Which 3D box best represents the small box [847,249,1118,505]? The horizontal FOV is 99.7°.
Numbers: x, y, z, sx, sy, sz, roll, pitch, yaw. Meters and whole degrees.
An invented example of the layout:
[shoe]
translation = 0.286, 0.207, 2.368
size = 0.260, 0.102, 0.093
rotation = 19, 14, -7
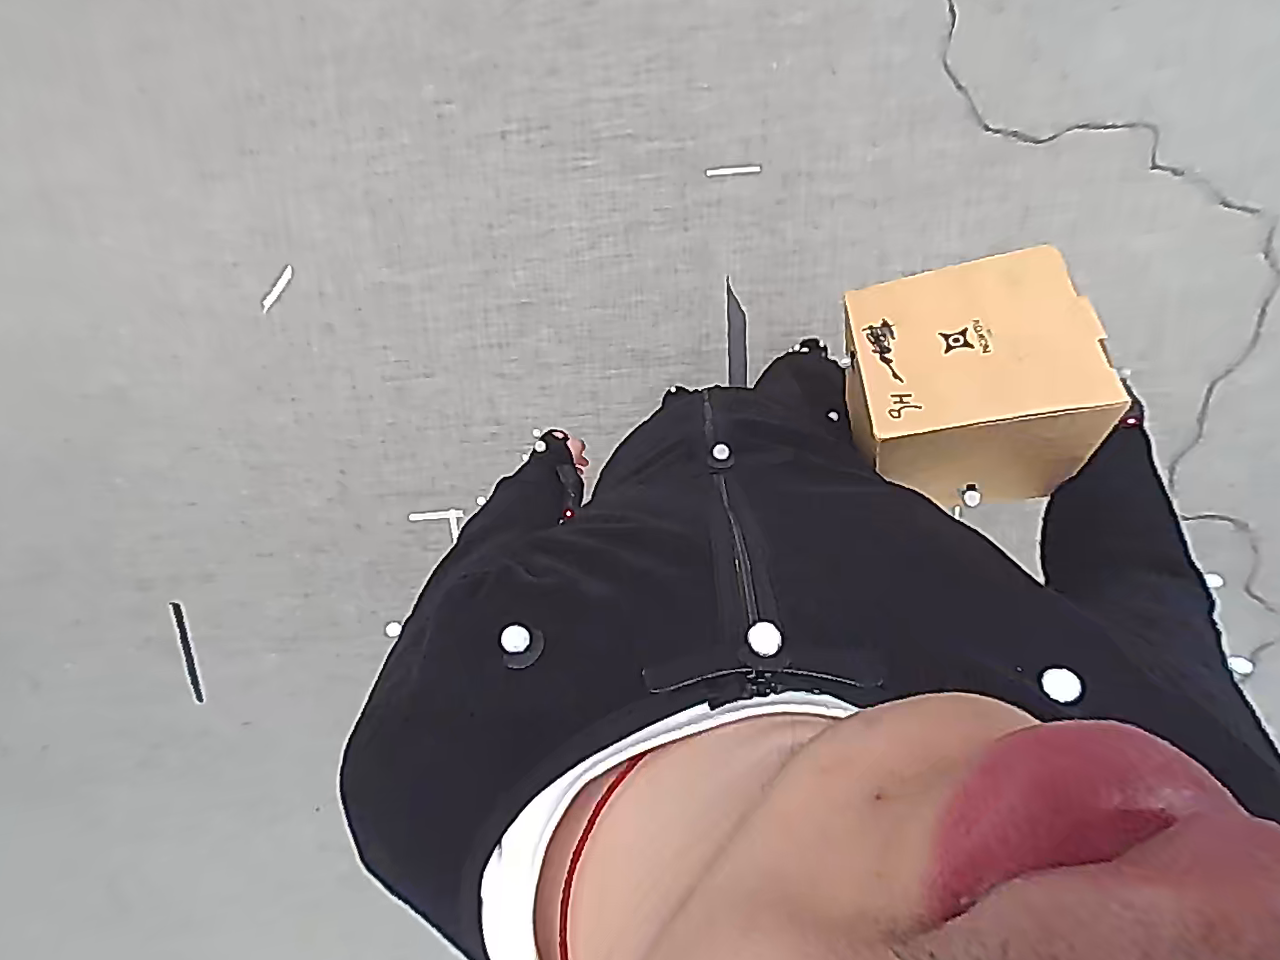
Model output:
[small box]
translation = 0.308, -0.088, 0.535
size = 0.179, 0.176, 0.168
rotation = -8, 61, 18
